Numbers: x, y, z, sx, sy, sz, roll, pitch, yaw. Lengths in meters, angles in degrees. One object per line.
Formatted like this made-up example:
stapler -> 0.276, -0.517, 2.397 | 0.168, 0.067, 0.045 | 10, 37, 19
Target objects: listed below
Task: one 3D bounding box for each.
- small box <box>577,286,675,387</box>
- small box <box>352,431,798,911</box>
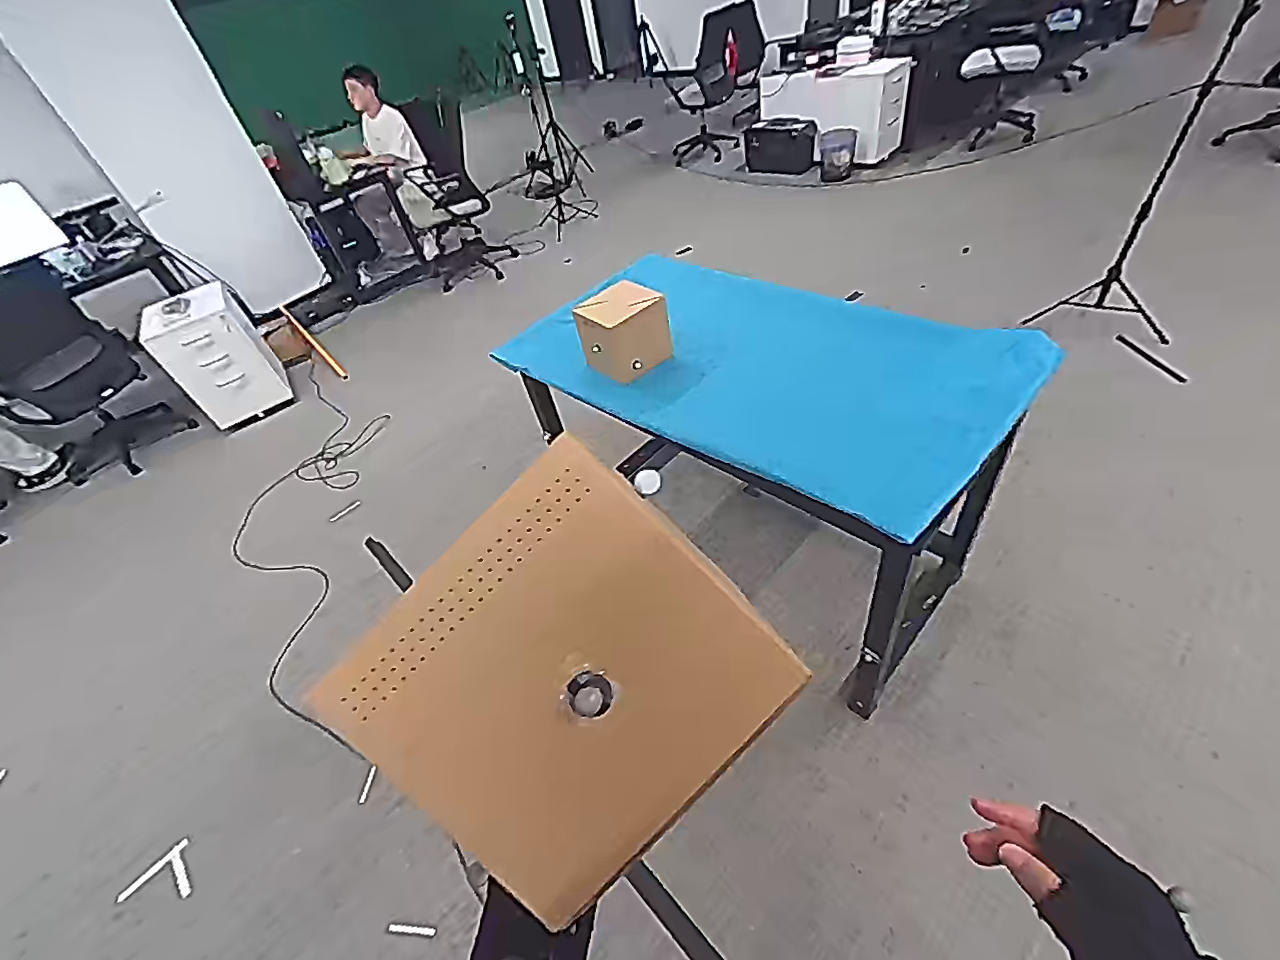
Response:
small box -> -0.037, -0.371, 1.381 | 0.179, 0.176, 0.168 | -37, 49, -21
small box -> -0.043, 0.093, 0.339 | 0.176, 0.168, 0.179 | 43, 90, -3
